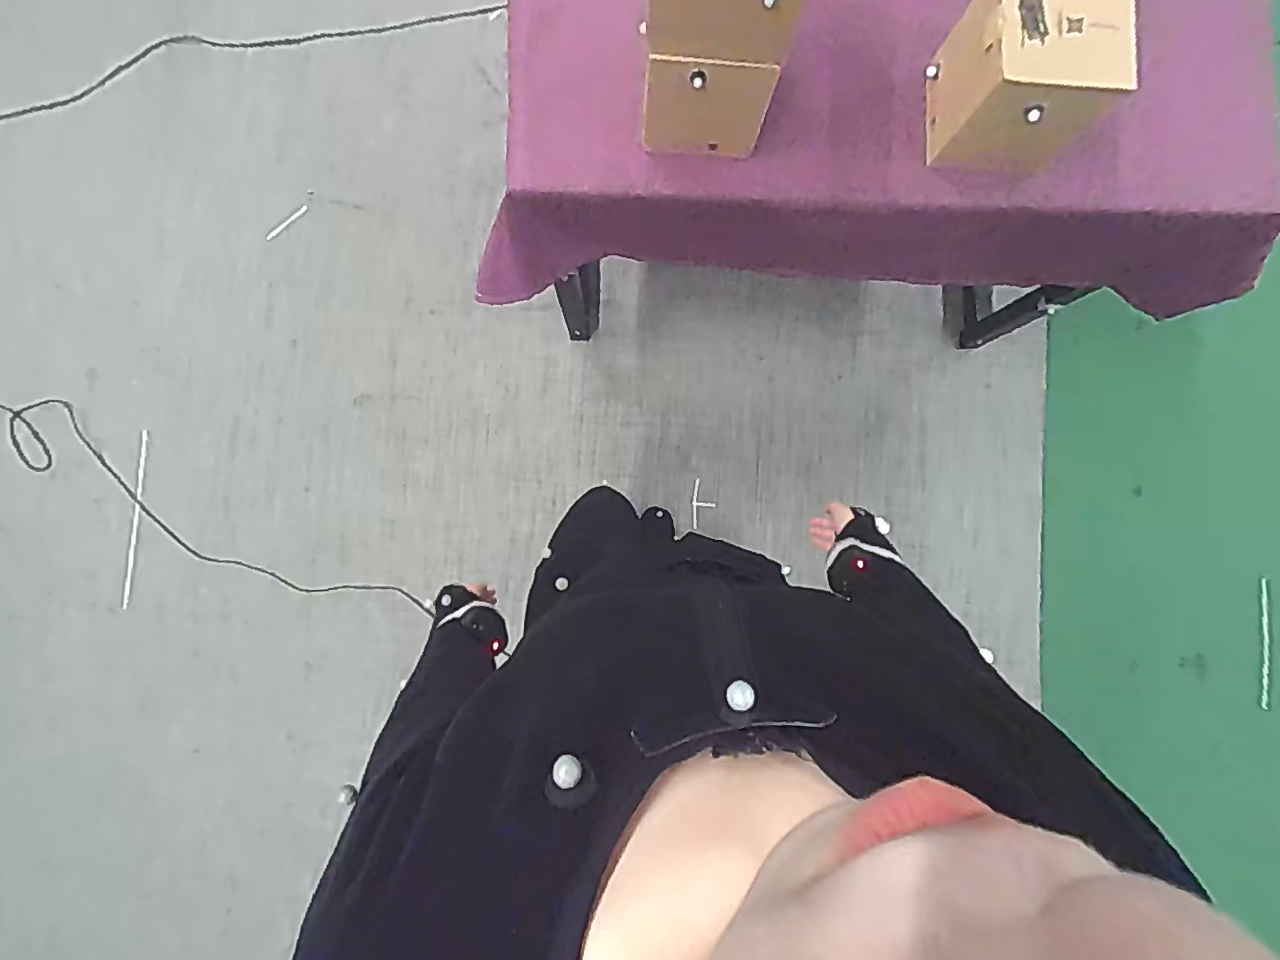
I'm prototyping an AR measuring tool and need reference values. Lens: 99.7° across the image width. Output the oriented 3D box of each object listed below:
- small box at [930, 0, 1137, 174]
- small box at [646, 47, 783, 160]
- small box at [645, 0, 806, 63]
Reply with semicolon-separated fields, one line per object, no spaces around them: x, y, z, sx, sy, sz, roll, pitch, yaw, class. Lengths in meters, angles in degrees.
0.531;-0.558;0.754;0.179;0.176;0.168;3;86;-2;small box
0.096;-0.584;0.743;0.168;0.176;0.179;4;85;-1;small box
0.101;-0.595;0.580;0.179;0.176;0.168;5;85;-1;small box
